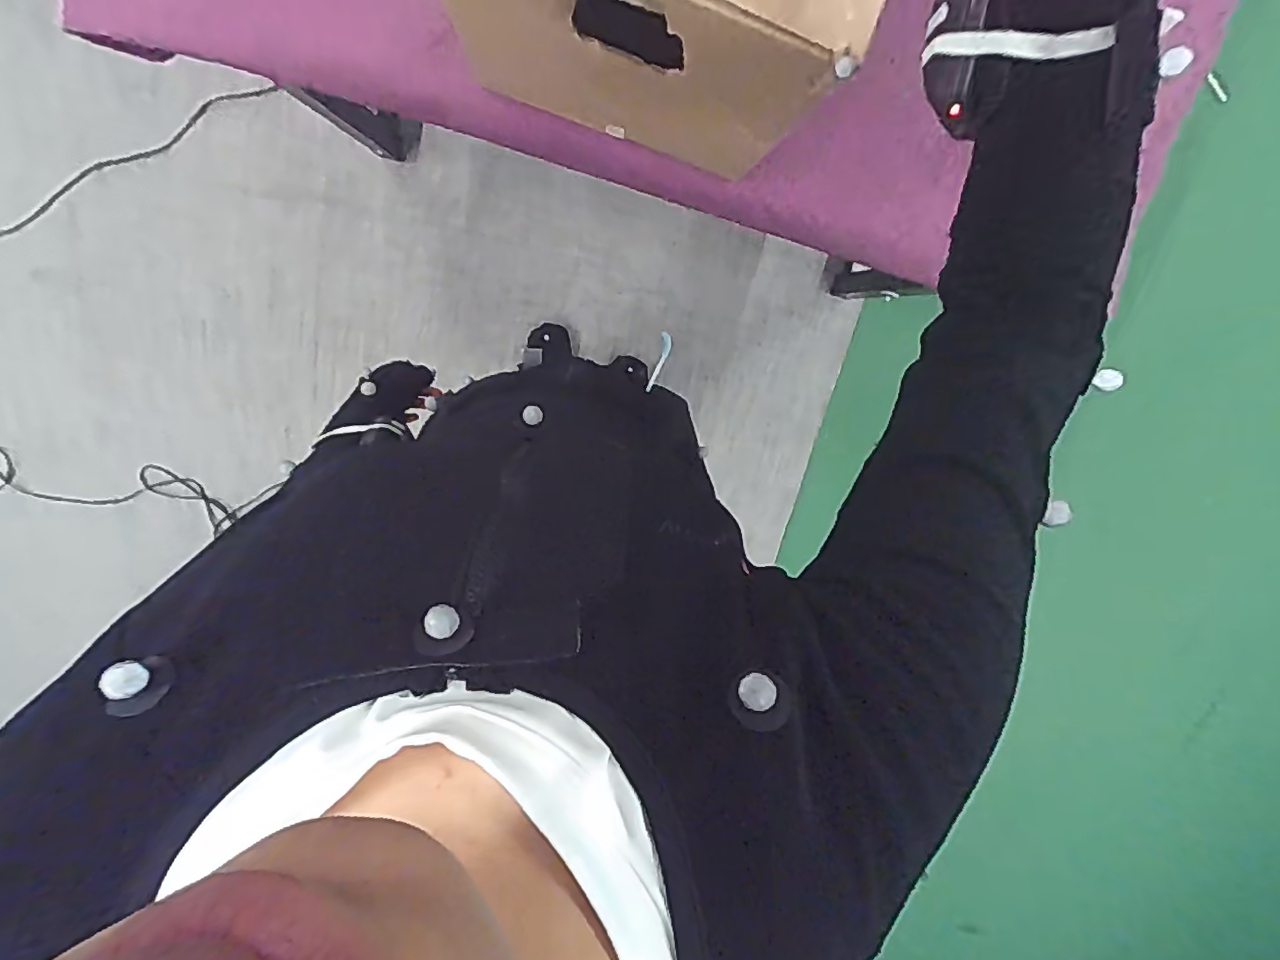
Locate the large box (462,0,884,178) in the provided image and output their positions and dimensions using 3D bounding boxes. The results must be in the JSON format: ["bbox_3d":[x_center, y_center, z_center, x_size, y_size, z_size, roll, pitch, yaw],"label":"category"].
[{"bbox_3d":[0.050,-0.544,0.445,0.320,0.320,0.408,16,105,-9],"label":"large box"}]
